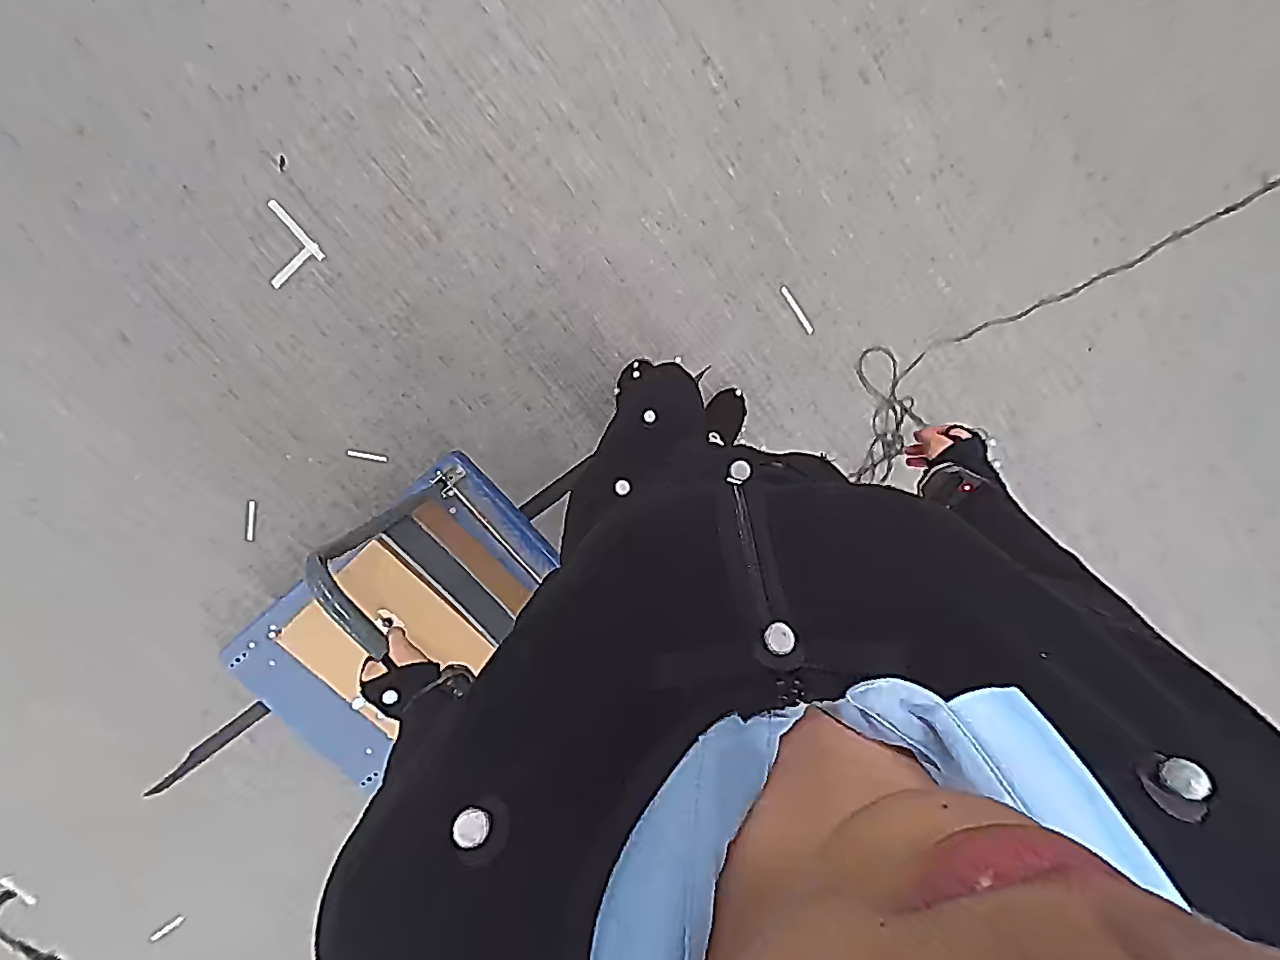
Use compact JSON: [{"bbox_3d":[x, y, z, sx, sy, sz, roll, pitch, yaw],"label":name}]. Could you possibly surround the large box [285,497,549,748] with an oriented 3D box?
[{"bbox_3d":[-0.478,0.309,1.253,0.320,0.320,0.408,-42,99,8],"label":"large box"}]
